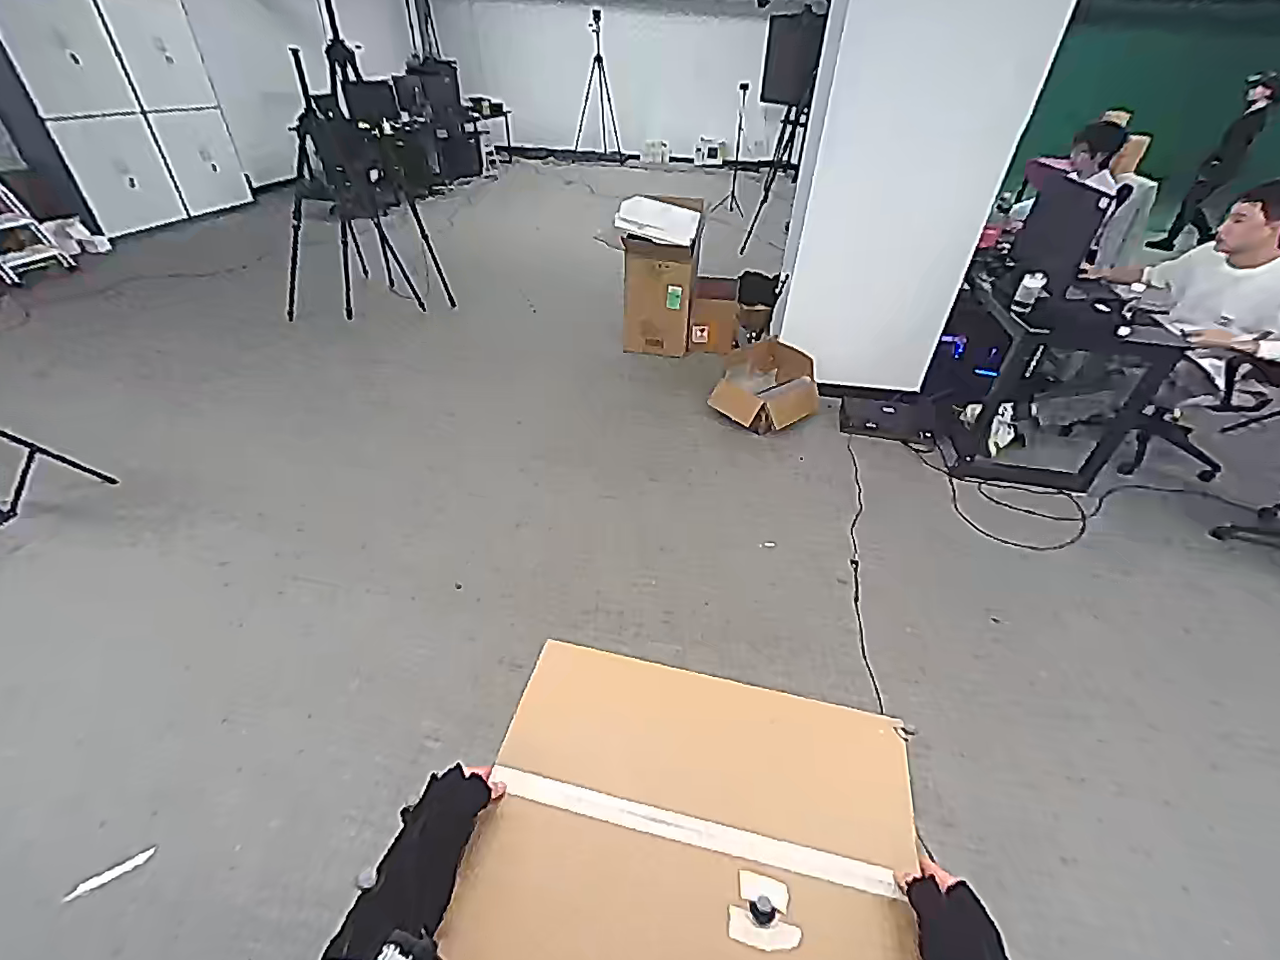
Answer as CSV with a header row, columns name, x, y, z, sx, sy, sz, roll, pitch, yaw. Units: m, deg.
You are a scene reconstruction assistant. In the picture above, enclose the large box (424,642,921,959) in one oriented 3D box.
name,x,y,z,sx,sy,sz,roll,pitch,yaw
large box,0.045,0.435,0.610,0.408,0.320,0.320,10,43,9
